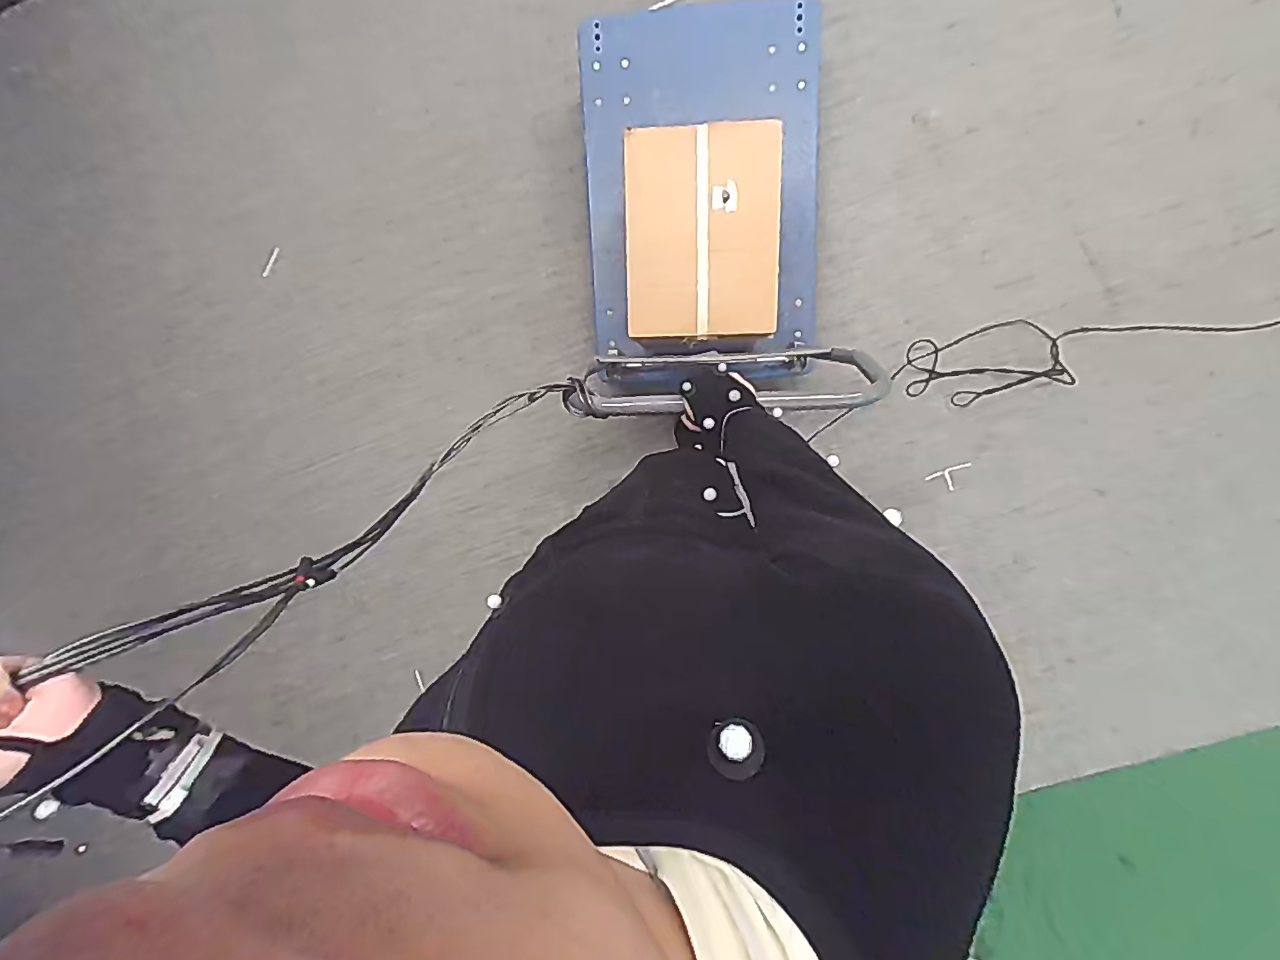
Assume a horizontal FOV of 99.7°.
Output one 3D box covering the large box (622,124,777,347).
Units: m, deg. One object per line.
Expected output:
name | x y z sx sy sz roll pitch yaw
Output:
large box | 0.135 -0.529 1.255 0.320 0.320 0.408 0 100 4
